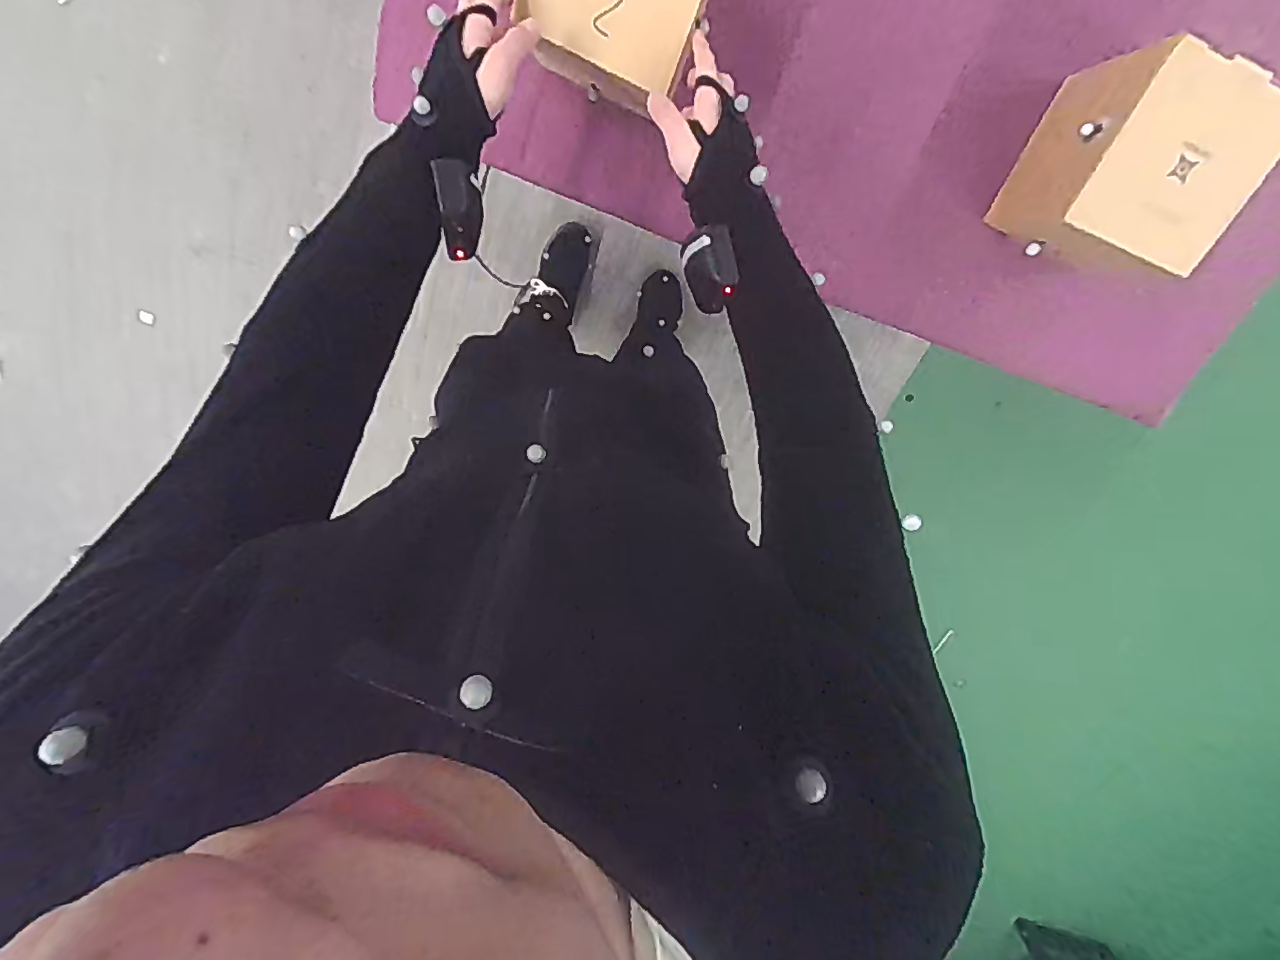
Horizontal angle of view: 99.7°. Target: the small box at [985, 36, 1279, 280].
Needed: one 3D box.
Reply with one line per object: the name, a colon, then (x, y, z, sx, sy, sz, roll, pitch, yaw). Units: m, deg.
small box: (0.554, -0.356, 0.630, 0.168, 0.176, 0.179, 21, 114, -7)
